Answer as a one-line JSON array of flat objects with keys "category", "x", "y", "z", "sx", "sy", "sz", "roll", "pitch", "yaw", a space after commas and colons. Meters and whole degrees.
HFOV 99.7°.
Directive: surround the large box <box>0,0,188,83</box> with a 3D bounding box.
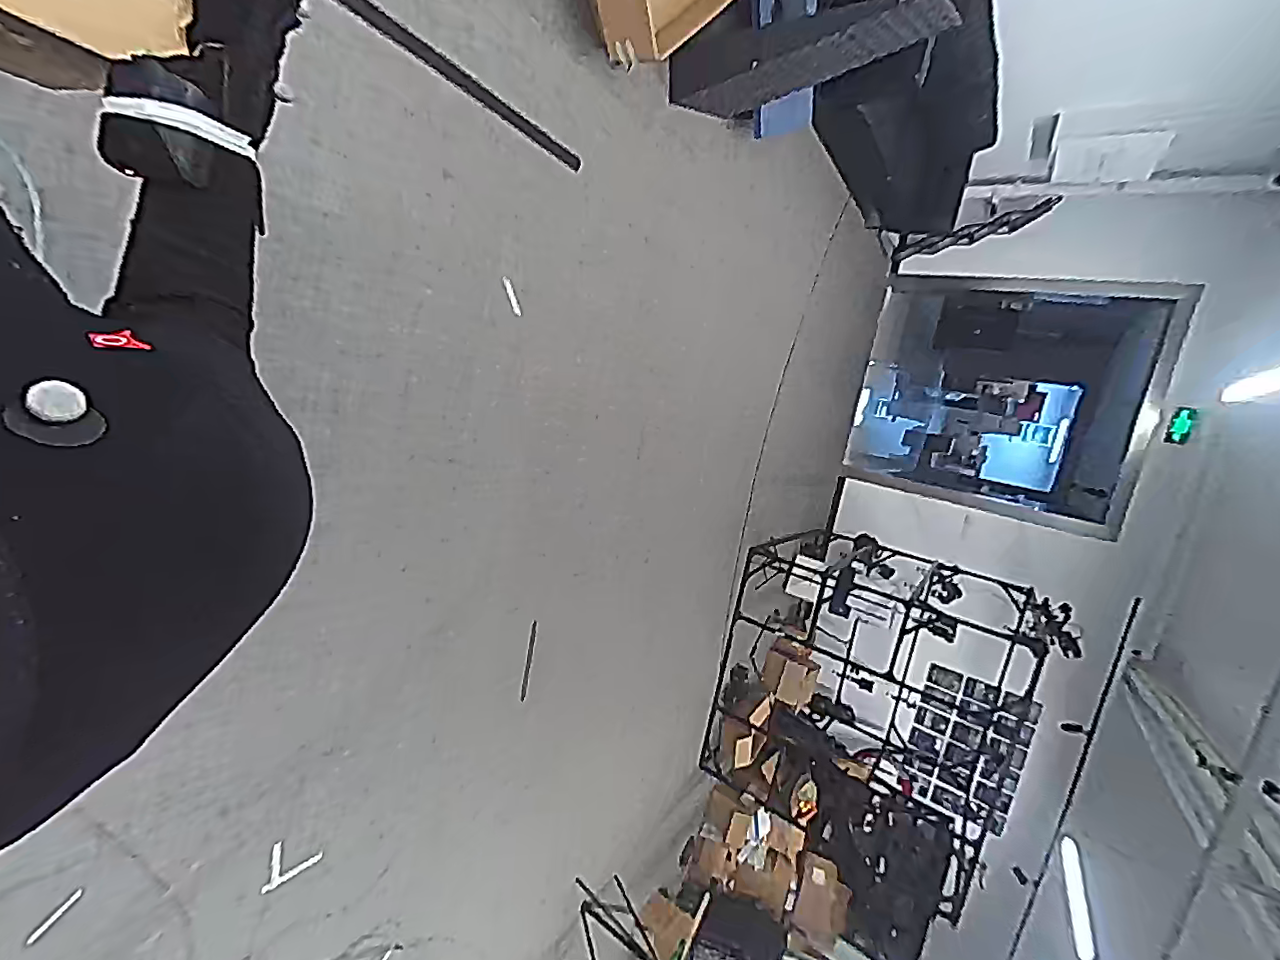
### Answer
[{"category": "large box", "x": -0.506, "y": -0.459, "z": 0.247, "sx": 0.408, "sy": 0.320, "sz": 0.320, "roll": -4, "pitch": 115, "yaw": -59}]
